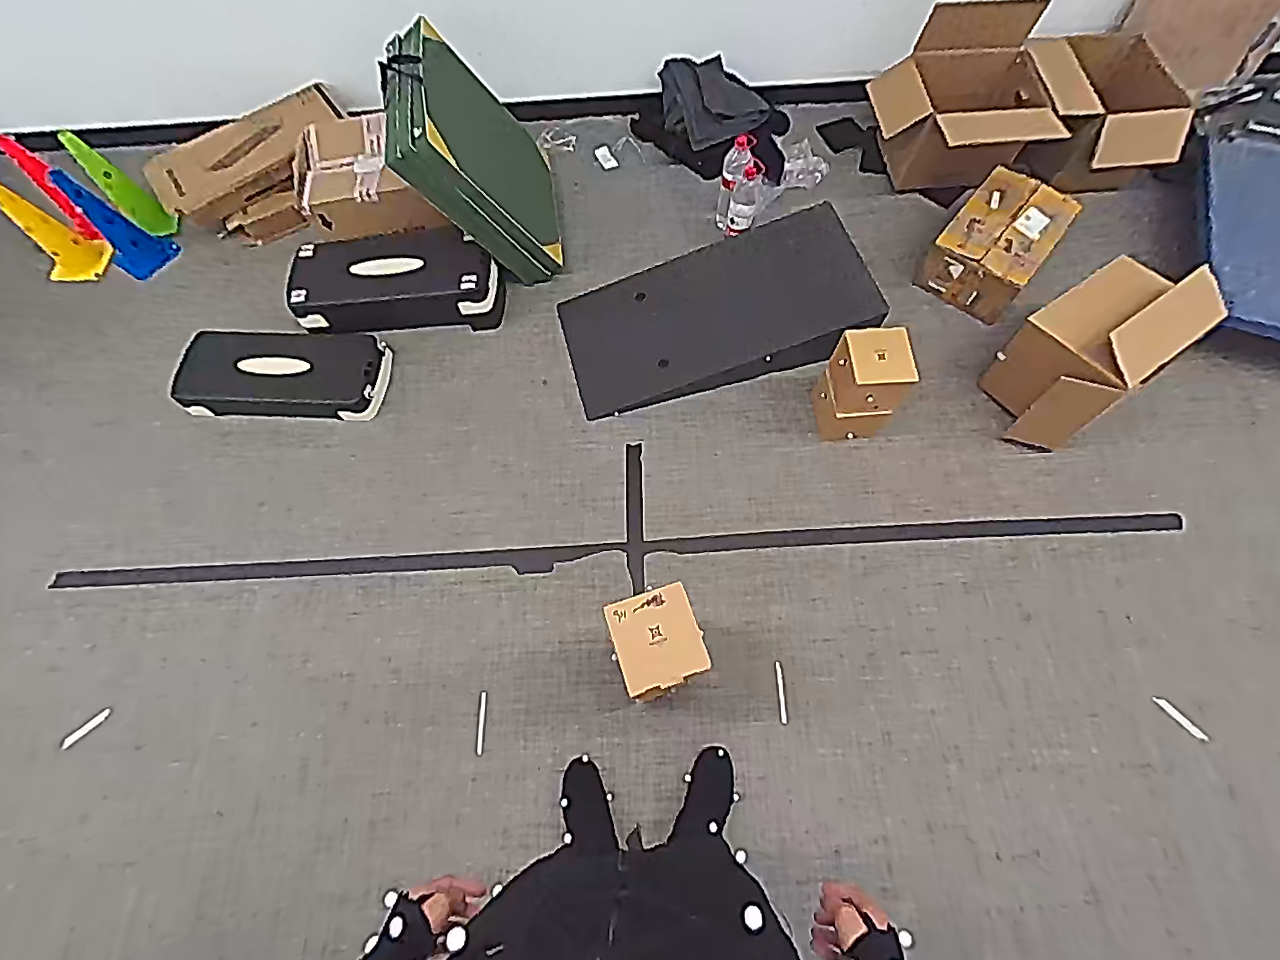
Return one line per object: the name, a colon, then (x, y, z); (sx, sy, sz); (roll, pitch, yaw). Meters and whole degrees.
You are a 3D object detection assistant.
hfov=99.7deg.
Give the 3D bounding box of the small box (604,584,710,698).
small box: (0.034, 0.332, 1.110); (0.168, 0.176, 0.179); (-17, 69, -5)
